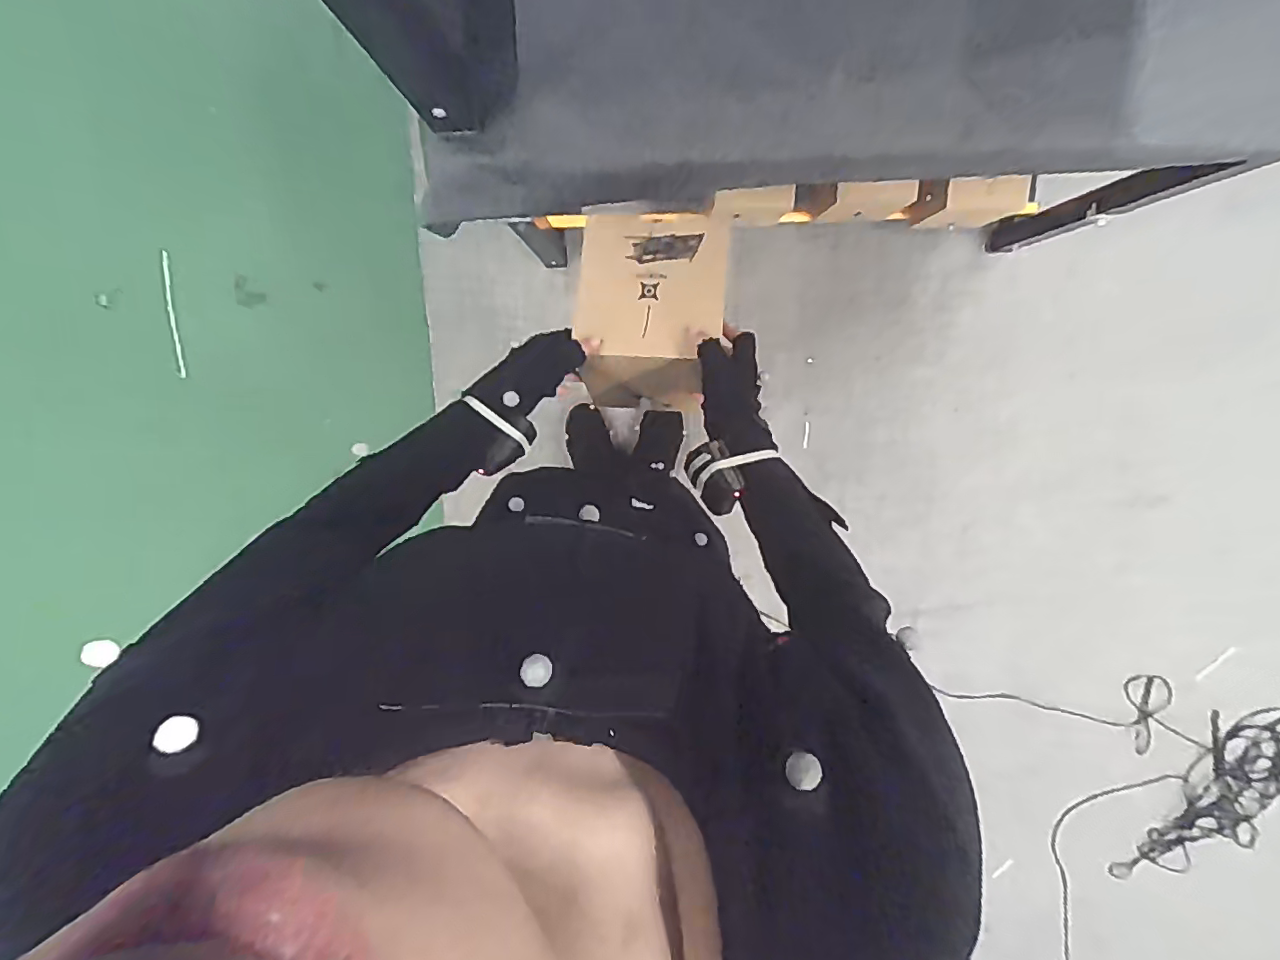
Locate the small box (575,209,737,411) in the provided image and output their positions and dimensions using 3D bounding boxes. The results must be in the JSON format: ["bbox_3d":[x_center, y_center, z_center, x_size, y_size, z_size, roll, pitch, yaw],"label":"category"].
[{"bbox_3d":[0.024,-0.200,0.665,0.168,0.176,0.179,4,79,6],"label":"small box"}]

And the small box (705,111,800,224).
[{"bbox_3d":[0.233,-0.656,1.156,0.168,0.176,0.179,-1,102,-1],"label":"small box"}]
